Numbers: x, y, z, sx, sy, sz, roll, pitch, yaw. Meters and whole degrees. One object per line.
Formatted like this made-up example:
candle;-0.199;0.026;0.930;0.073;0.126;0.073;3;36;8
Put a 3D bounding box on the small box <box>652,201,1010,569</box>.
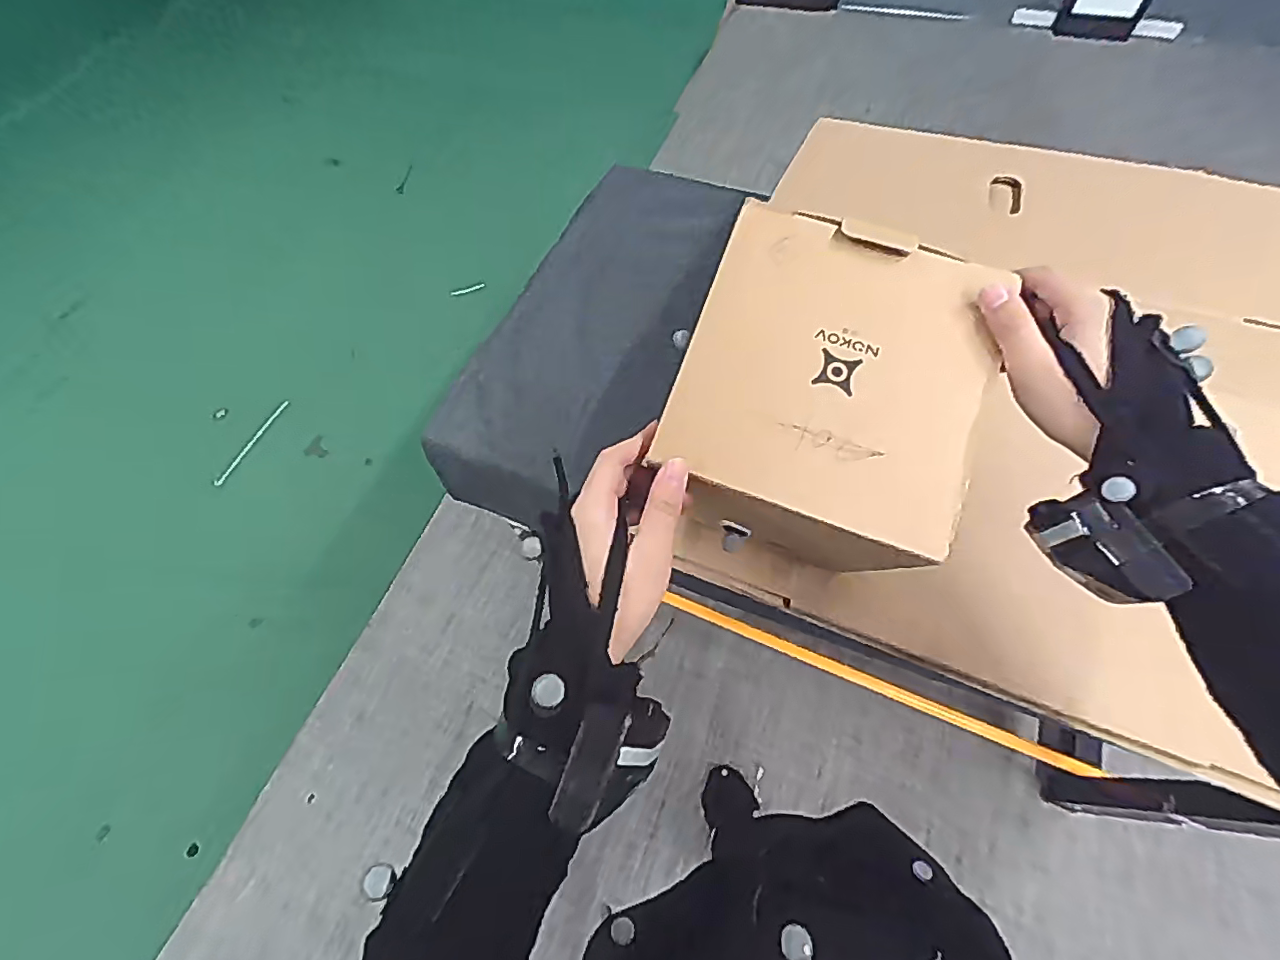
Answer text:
small box;0.113;-0.048;0.384;0.168;0.176;0.179;20;80;7
